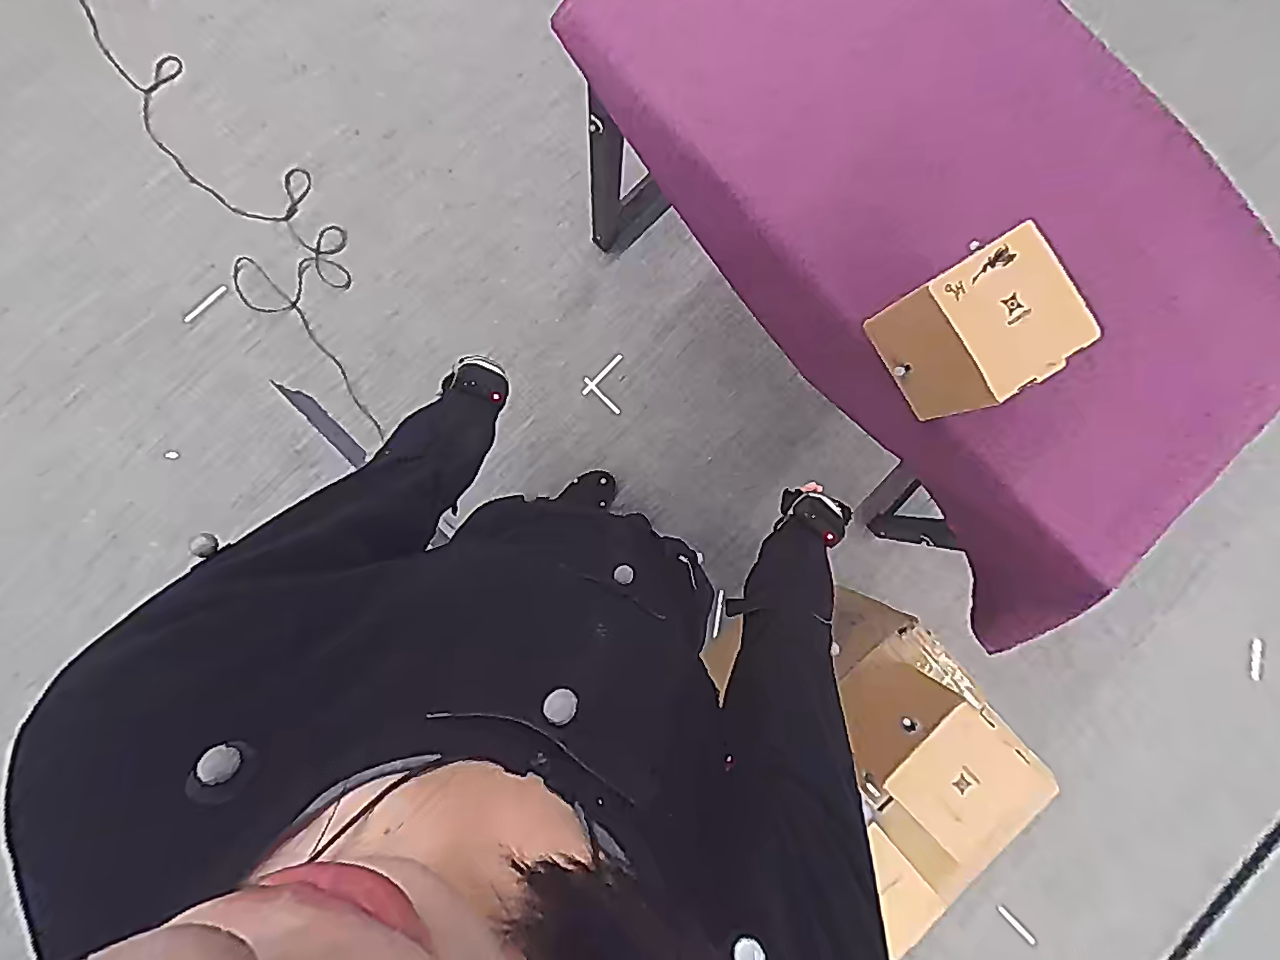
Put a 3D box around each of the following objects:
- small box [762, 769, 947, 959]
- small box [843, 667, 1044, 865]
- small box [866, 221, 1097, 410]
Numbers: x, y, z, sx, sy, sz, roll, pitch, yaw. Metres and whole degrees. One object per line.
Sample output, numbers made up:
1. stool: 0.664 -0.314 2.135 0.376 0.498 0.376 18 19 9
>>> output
1. small box: 0.306 0.591 0.821 0.179 0.176 0.168 -41 91 -6
2. small box: 0.453 0.424 0.838 0.179 0.176 0.168 -44 90 -3
3. small box: 0.457 -0.210 0.751 0.168 0.176 0.179 -32 92 -5
